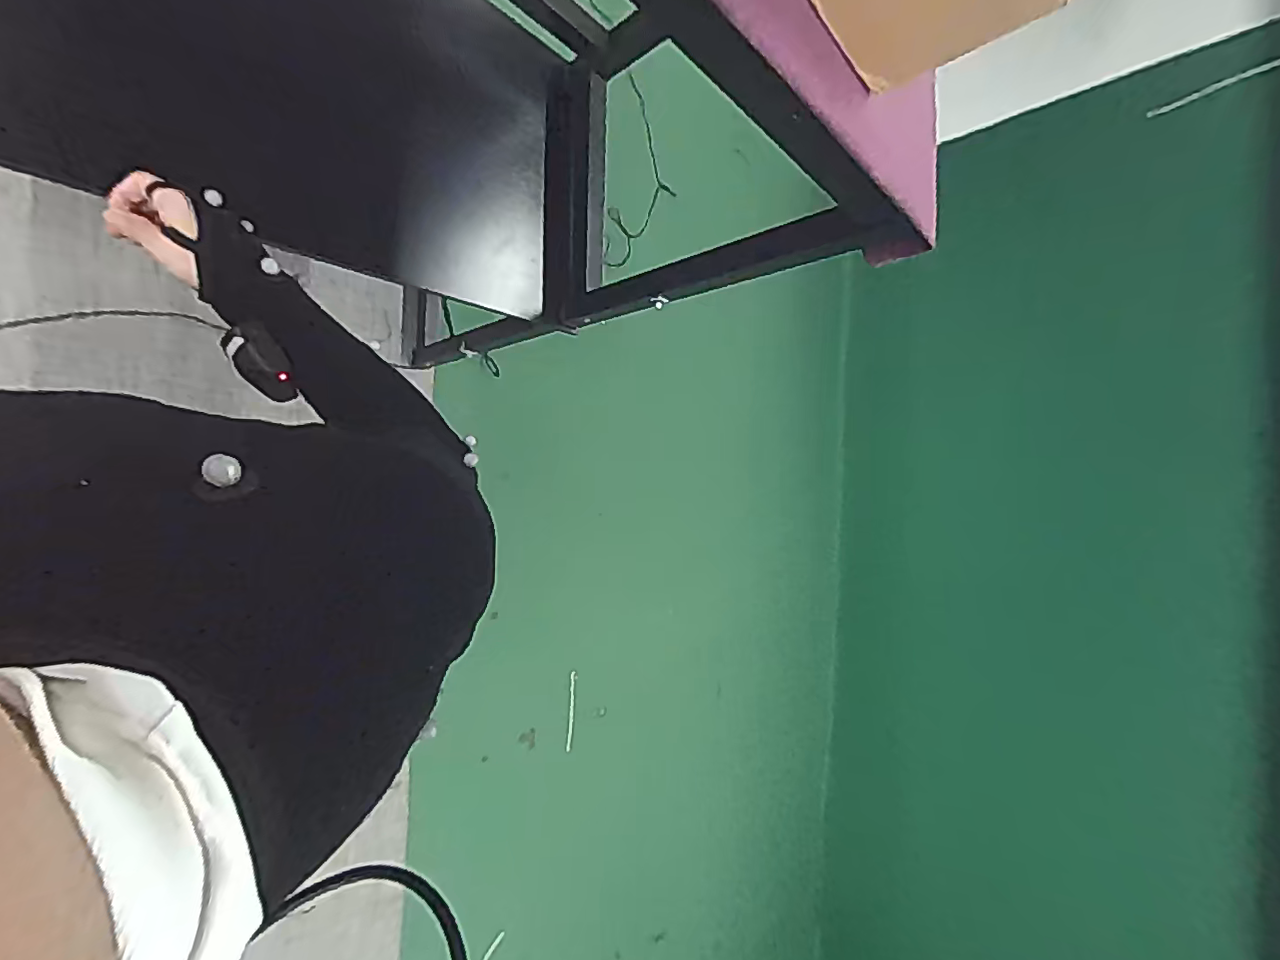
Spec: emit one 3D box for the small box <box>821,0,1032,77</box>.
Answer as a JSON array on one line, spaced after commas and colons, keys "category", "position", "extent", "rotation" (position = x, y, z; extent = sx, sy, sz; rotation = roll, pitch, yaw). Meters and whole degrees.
[{"category": "small box", "position": [0.247, -0.495, 0.453], "extent": [0.179, 0.176, 0.168], "rotation": [8, 85, -46]}]
